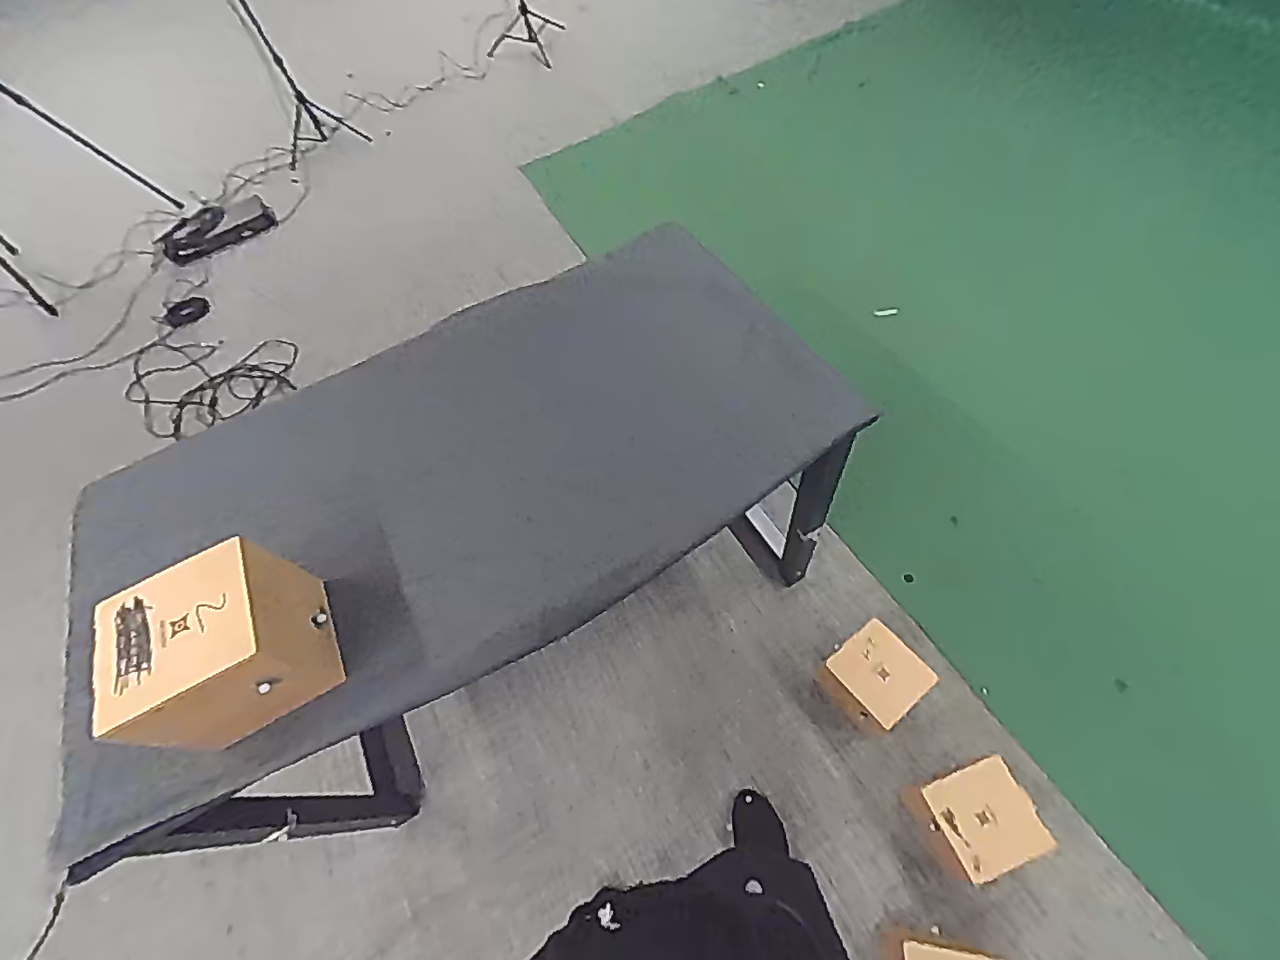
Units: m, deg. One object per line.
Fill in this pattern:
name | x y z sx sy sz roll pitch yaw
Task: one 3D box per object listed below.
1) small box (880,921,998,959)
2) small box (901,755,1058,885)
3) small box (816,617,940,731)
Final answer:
small box | 0.534 0.920 0.956 0.168 0.176 0.179 4 60 11
small box | 0.660 0.667 1.080 0.179 0.176 0.168 -21 60 -4
small box | 0.528 0.447 1.227 0.168 0.176 0.179 -36 62 -12
